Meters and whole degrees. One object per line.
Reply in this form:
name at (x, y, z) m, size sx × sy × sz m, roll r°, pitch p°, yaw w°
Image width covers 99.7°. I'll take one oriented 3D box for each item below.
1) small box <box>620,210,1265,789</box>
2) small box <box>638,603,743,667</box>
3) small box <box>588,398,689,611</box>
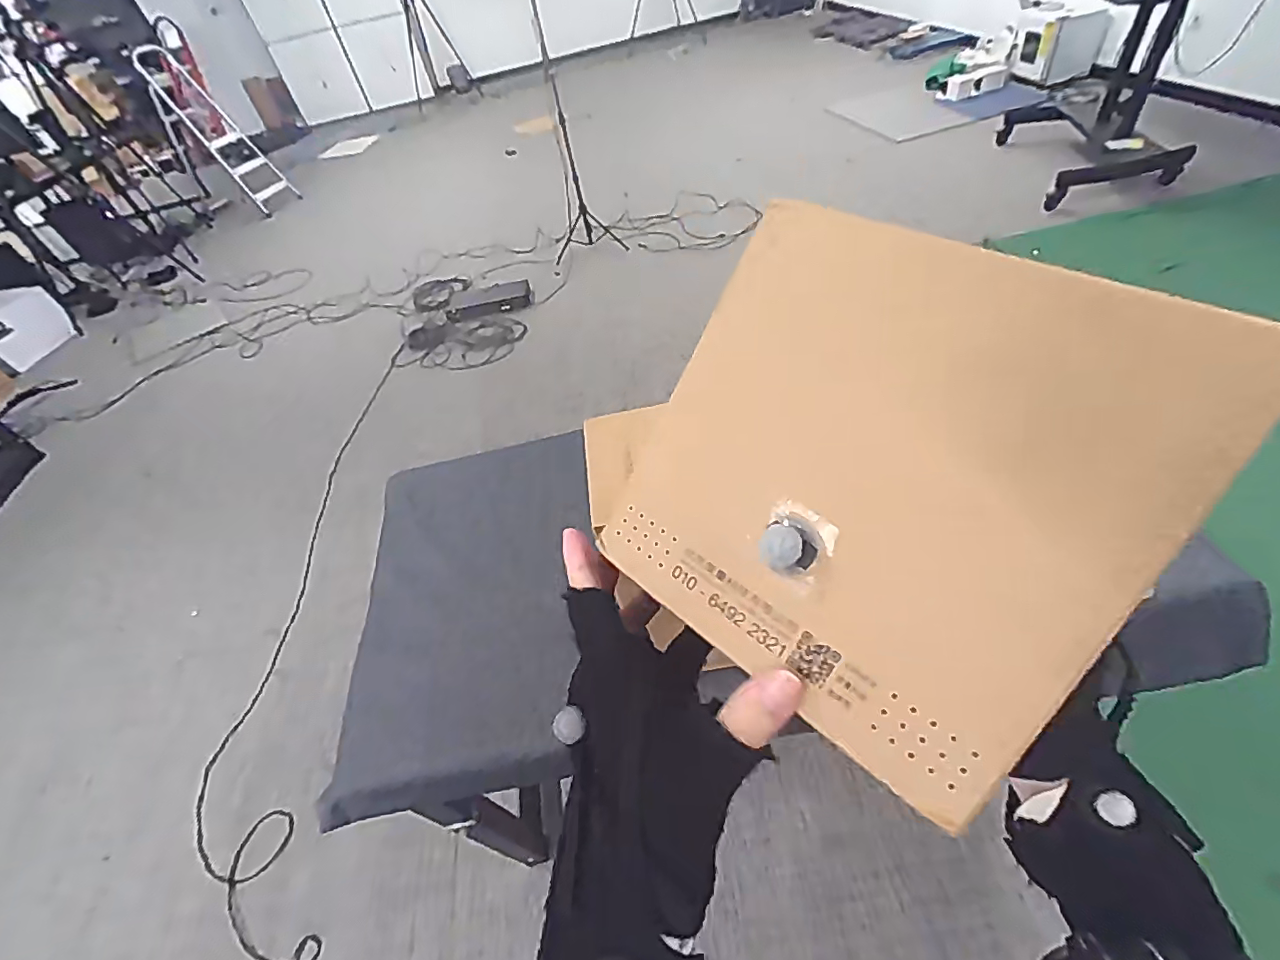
small box at (0.119, 0.005, 0.271) m, size 0.168 × 0.179 × 0.176 m, roll 34°, pitch 105°, yaw 31°
small box at (0.086, 0.135, 0.735) m, size 0.179 × 0.176 × 0.168 m, roll -11°, pitch 46°, yaw 3°
small box at (0.047, 0.026, 0.620) m, size 0.179 × 0.176 × 0.168 m, roll -12°, pitch 44°, yaw 2°
